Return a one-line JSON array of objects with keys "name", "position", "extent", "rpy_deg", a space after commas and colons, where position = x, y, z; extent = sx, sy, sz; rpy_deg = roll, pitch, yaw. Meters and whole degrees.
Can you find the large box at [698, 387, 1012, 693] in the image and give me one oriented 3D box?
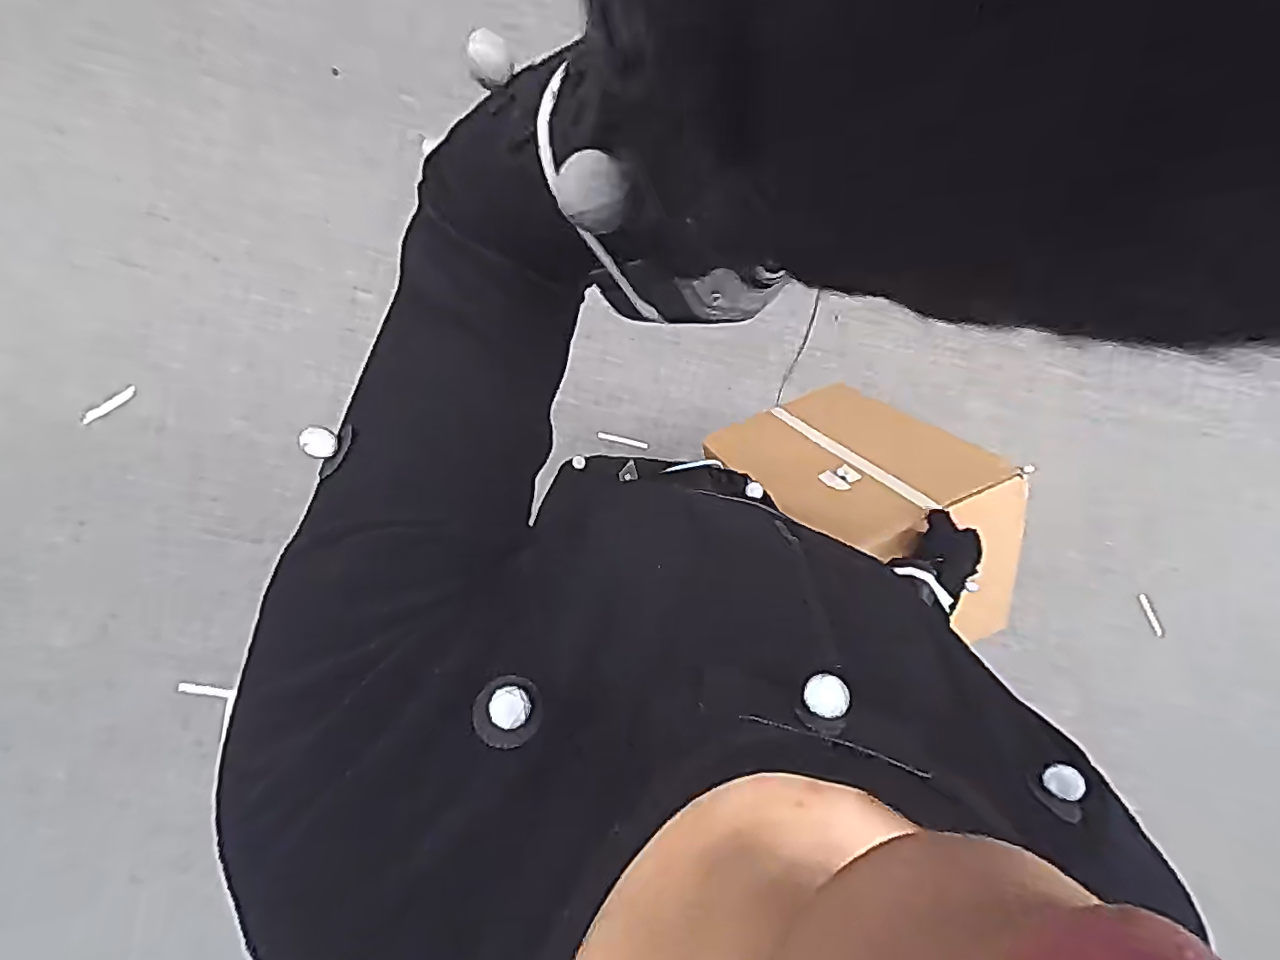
[{"name": "large box", "position": [0.345, 0.080, 0.966], "extent": [0.320, 0.408, 0.320], "rpy_deg": [-22, 124, -9]}]
